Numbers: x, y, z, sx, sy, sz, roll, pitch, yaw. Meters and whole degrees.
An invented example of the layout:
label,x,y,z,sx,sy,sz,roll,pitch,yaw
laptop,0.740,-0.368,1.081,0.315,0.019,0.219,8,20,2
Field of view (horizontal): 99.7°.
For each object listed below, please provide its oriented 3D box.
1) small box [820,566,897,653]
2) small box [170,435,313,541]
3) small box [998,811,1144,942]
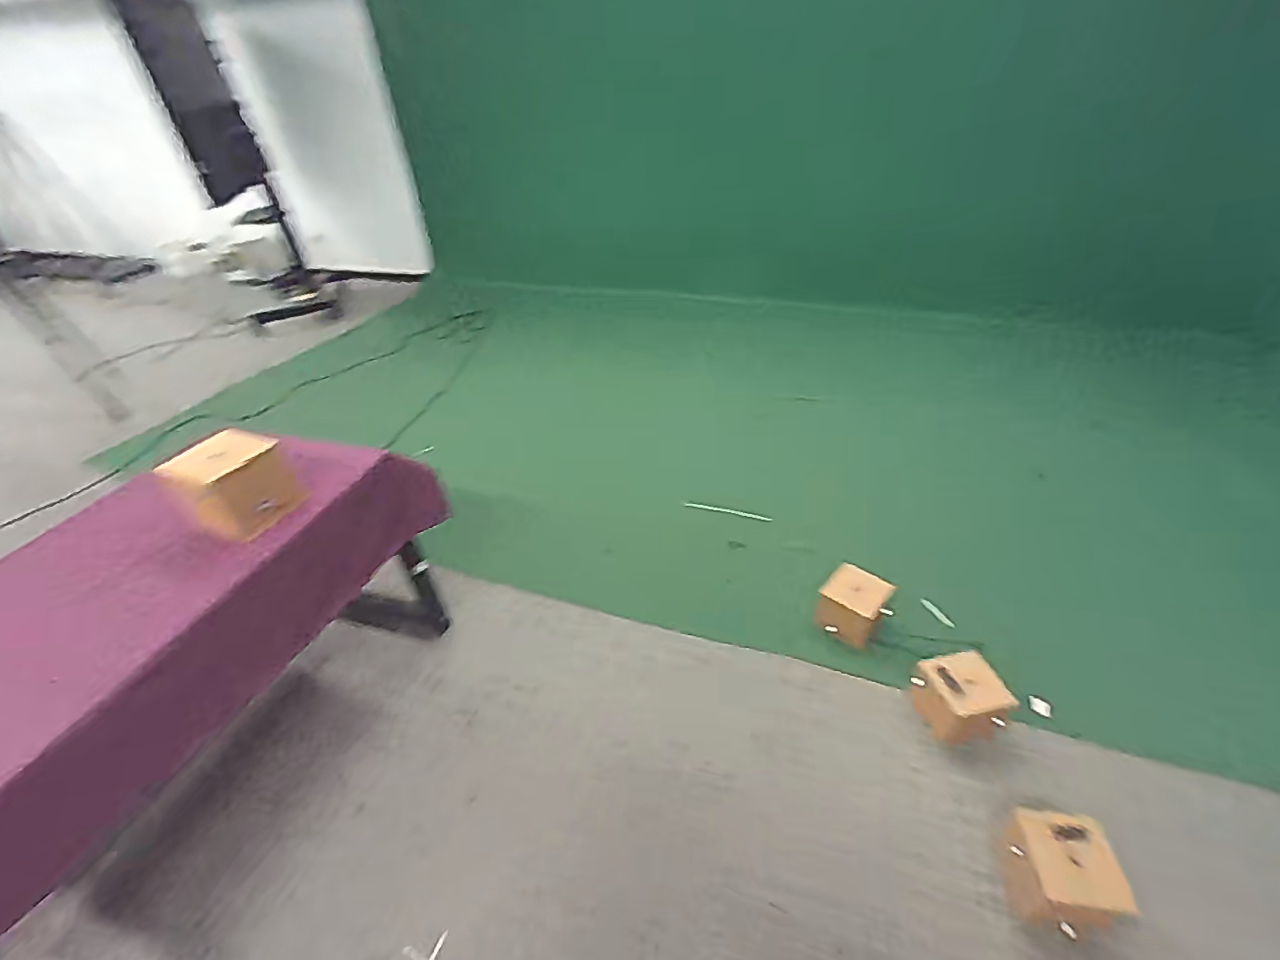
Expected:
label,x,y,z,sx,sy,sz,roll,pitch,yaw
small box,0.707,0.423,1.769,0.168,0.176,0.179,29,48,36
small box,-0.913,0.018,1.253,0.179,0.176,0.168,12,40,20
small box,0.912,0.855,1.169,0.168,0.176,0.179,3,38,9
